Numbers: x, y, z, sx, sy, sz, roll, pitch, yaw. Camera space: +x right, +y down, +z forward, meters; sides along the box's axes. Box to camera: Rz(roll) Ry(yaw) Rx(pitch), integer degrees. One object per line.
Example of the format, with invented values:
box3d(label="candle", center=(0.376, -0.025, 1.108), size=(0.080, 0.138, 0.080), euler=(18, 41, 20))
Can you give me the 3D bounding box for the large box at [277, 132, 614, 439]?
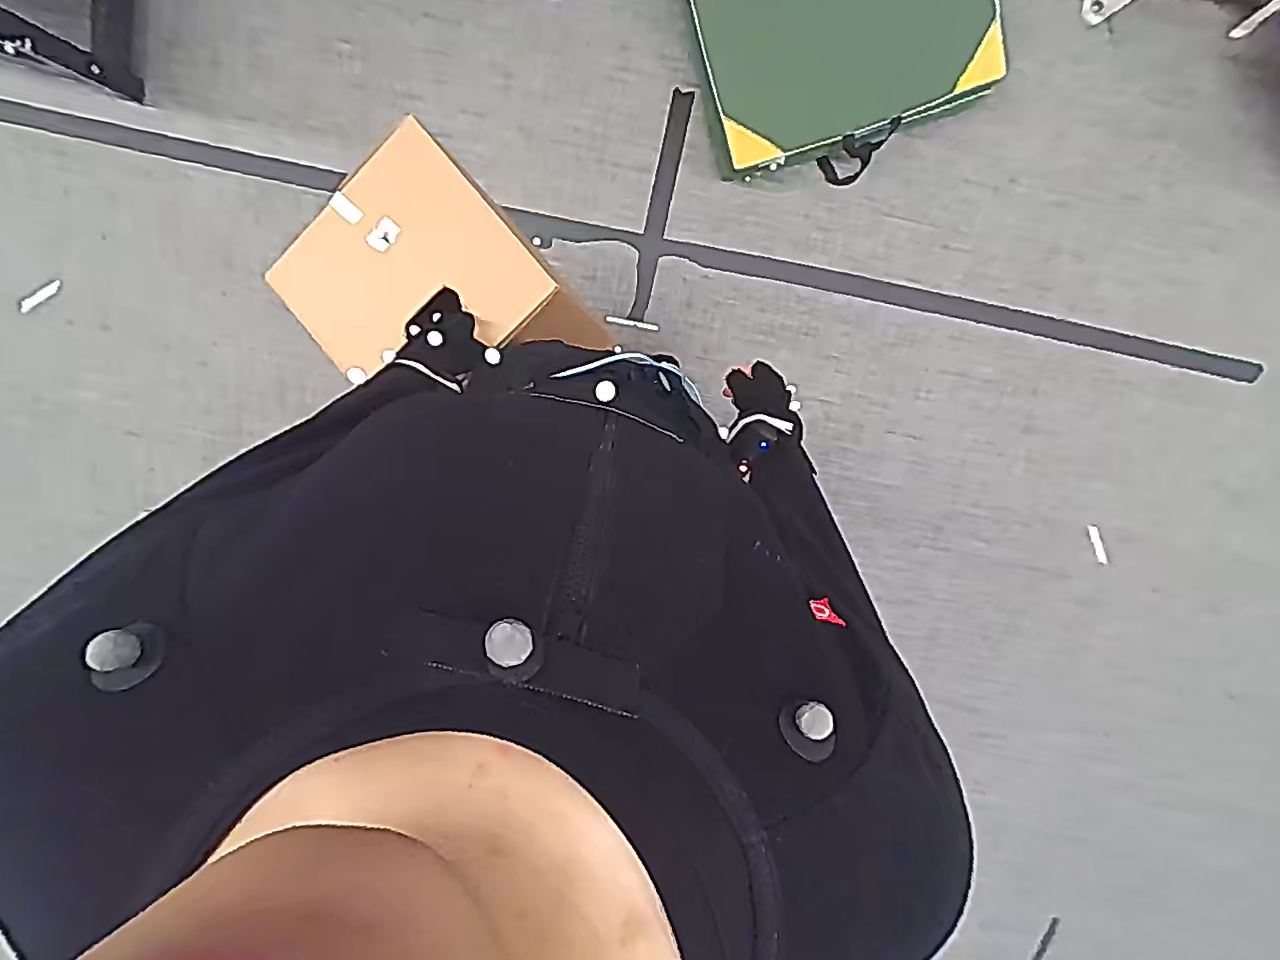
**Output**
box3d(label="large box", center=(-0.294, -0.287, 0.940), size=(0.320, 0.408, 0.320), euler=(-40, 88, 10))
